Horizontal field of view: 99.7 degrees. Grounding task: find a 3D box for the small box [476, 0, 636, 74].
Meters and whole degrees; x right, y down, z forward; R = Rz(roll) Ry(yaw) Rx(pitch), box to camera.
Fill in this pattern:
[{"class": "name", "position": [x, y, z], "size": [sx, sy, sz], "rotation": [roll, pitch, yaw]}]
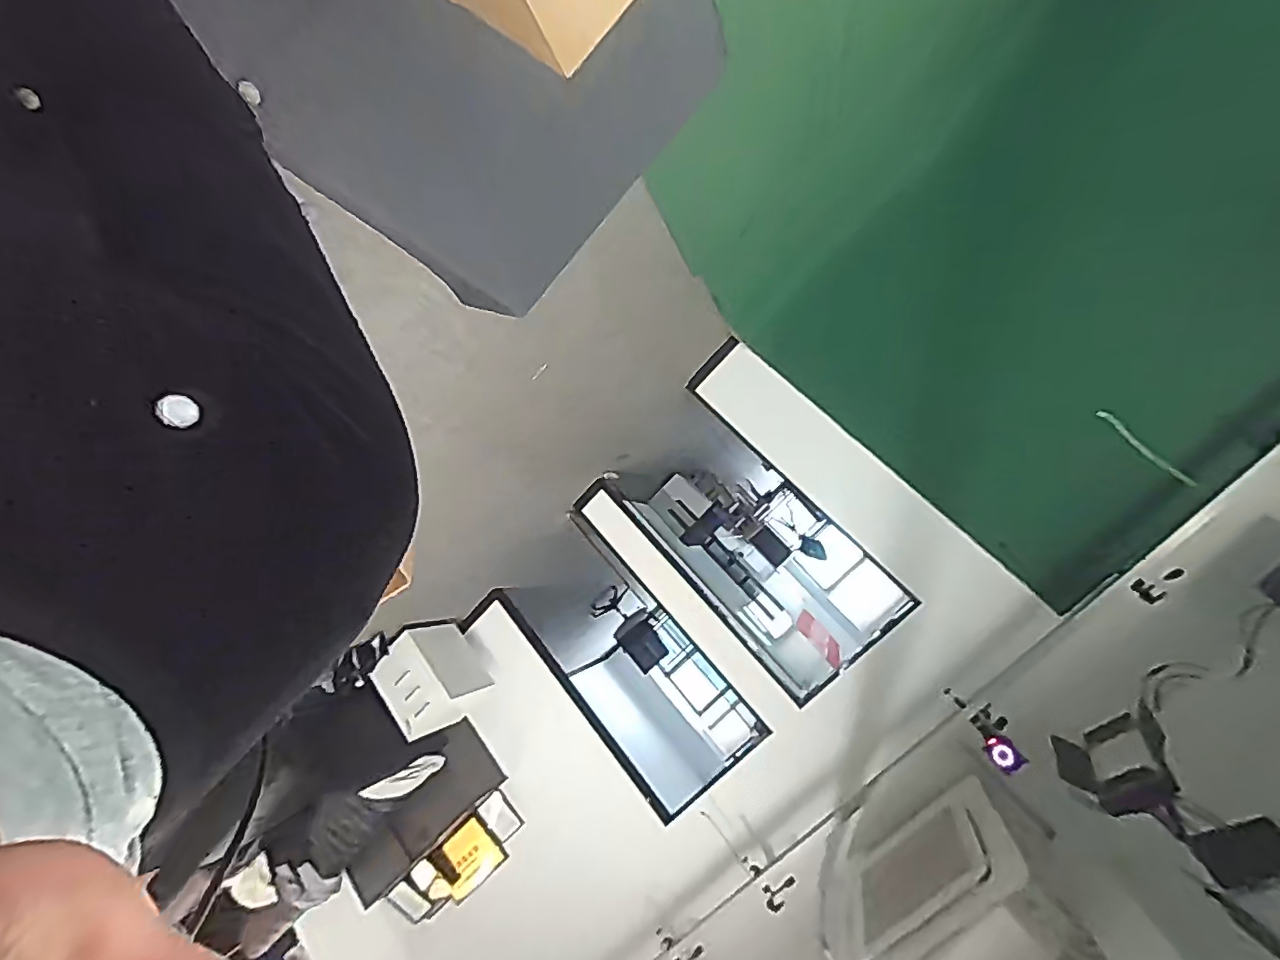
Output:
[{"class": "small box", "position": [-0.084, -0.464, 0.393], "size": [0.168, 0.176, 0.179], "rotation": [-46, 163, 8]}]
